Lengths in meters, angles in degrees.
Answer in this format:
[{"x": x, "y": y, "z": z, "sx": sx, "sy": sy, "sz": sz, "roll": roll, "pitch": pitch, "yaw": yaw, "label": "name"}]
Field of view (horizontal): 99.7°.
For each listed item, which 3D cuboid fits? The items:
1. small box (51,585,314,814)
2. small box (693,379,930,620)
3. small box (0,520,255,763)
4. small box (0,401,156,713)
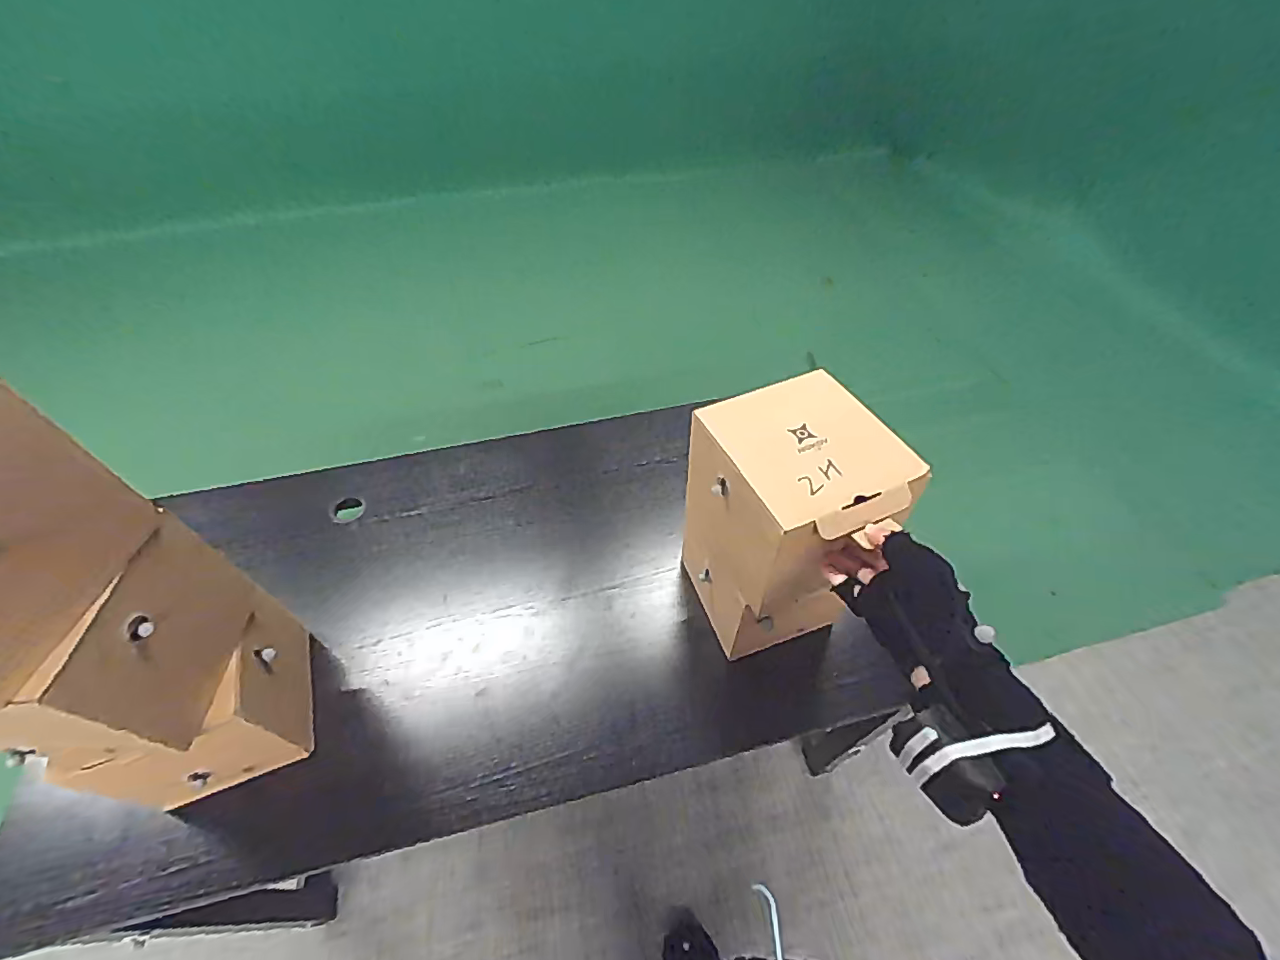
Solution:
[{"x": -0.507, "y": 0.258, "z": 0.634, "sx": 0.168, "sy": 0.176, "sz": 0.179, "roll": -18, "pitch": 54, "yaw": -14, "label": "small box"}, {"x": 0.167, "y": 0.022, "z": 0.599, "sx": 0.168, "sy": 0.176, "sz": 0.179, "roll": -19, "pitch": 52, "yaw": -14, "label": "small box"}, {"x": -0.511, "y": 0.156, "z": 0.506, "sx": 0.168, "sy": 0.176, "sz": 0.179, "roll": -1, "pitch": 51, "yaw": -1, "label": "small box"}, {"x": -0.516, "y": 0.049, "z": 0.381, "sx": 0.168, "sy": 0.176, "sz": 0.179, "roll": 8, "pitch": 53, "yaw": 5, "label": "small box"}]
